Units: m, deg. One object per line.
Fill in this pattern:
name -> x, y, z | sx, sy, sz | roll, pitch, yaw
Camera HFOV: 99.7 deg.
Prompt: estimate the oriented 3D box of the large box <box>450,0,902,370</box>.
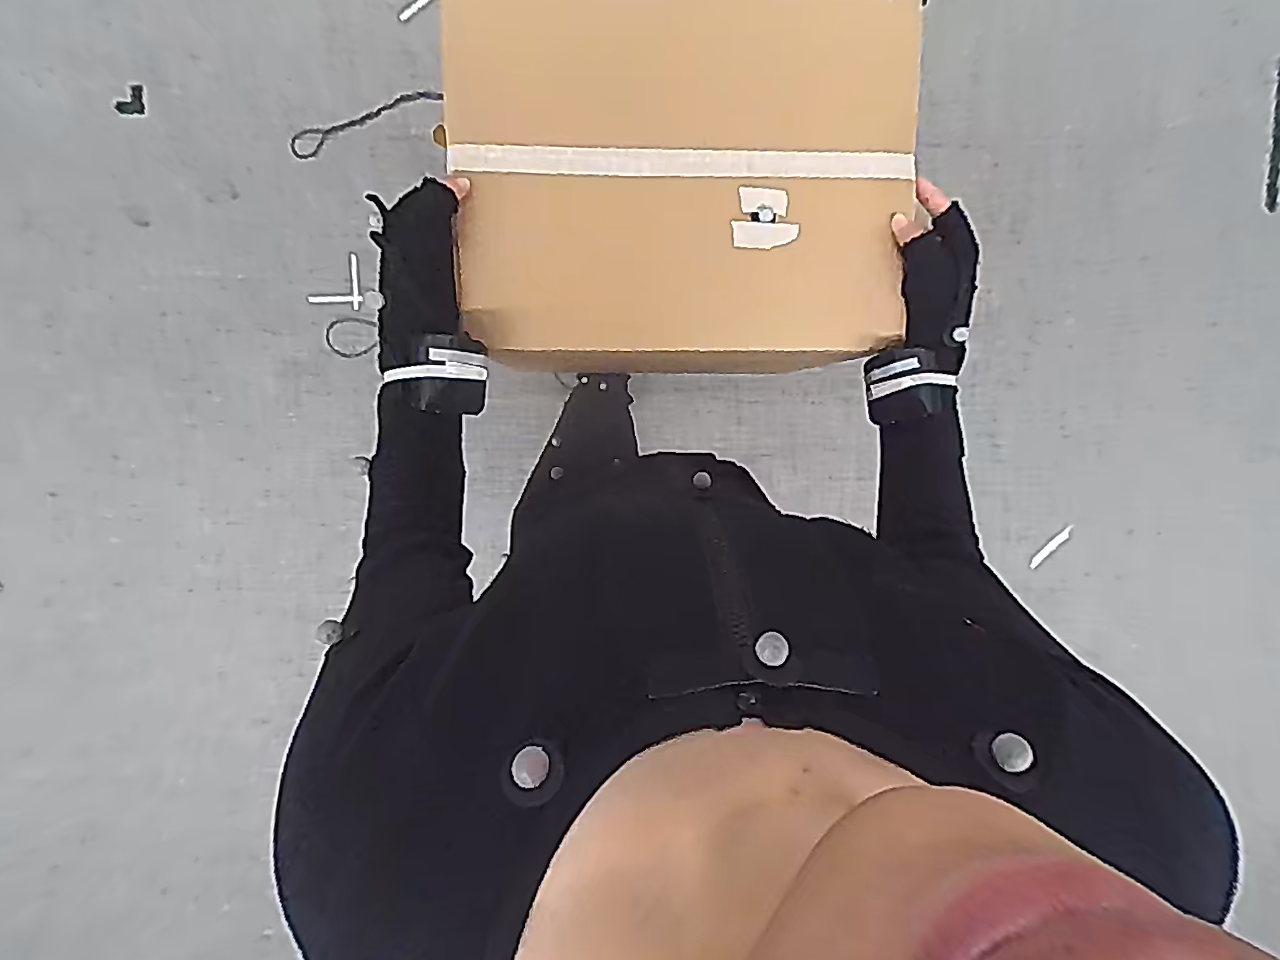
large box -> 0.027, -0.301, 0.633 | 0.408, 0.320, 0.320 | -1, 98, -4
